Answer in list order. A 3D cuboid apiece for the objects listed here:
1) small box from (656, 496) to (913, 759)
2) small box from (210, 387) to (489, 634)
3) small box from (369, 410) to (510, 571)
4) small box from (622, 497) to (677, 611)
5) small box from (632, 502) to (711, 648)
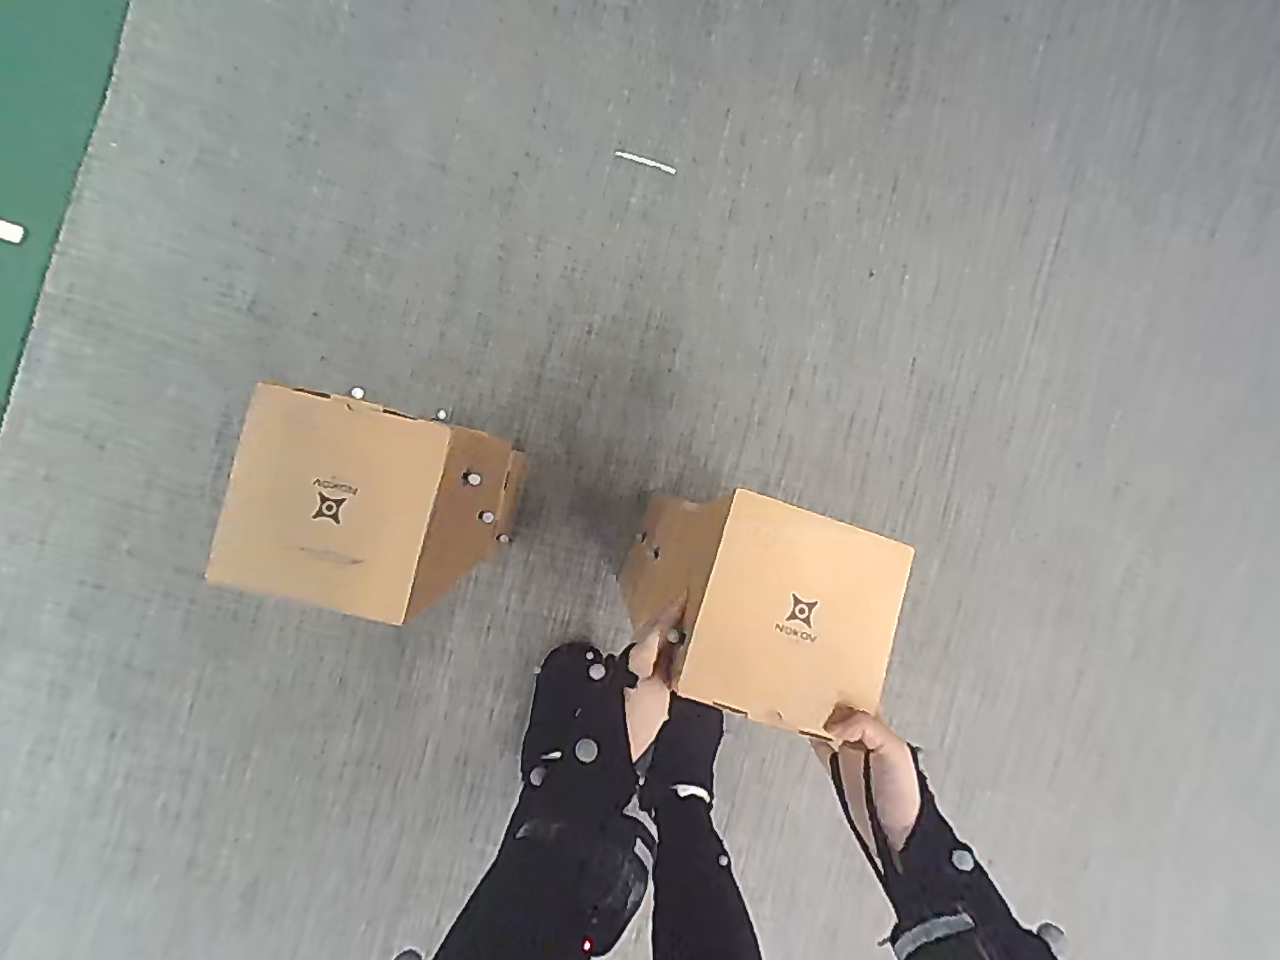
[{"bbox_3d":[0.123,0.130,0.522,0.168,0.176,0.179,19,80,-4],"label":"small box"},{"bbox_3d":[-0.256,0.026,0.524,0.168,0.176,0.179,14,90,-4],"label":"small box"},{"bbox_3d":[-0.272,0.018,0.685,0.168,0.176,0.179,13,90,-5],"label":"small box"},{"bbox_3d":[0.074,0.136,0.886,0.168,0.176,0.179,22,90,-5],"label":"small box"},{"bbox_3d":[0.093,0.136,0.723,0.168,0.176,0.179,20,89,-5],"label":"small box"}]
